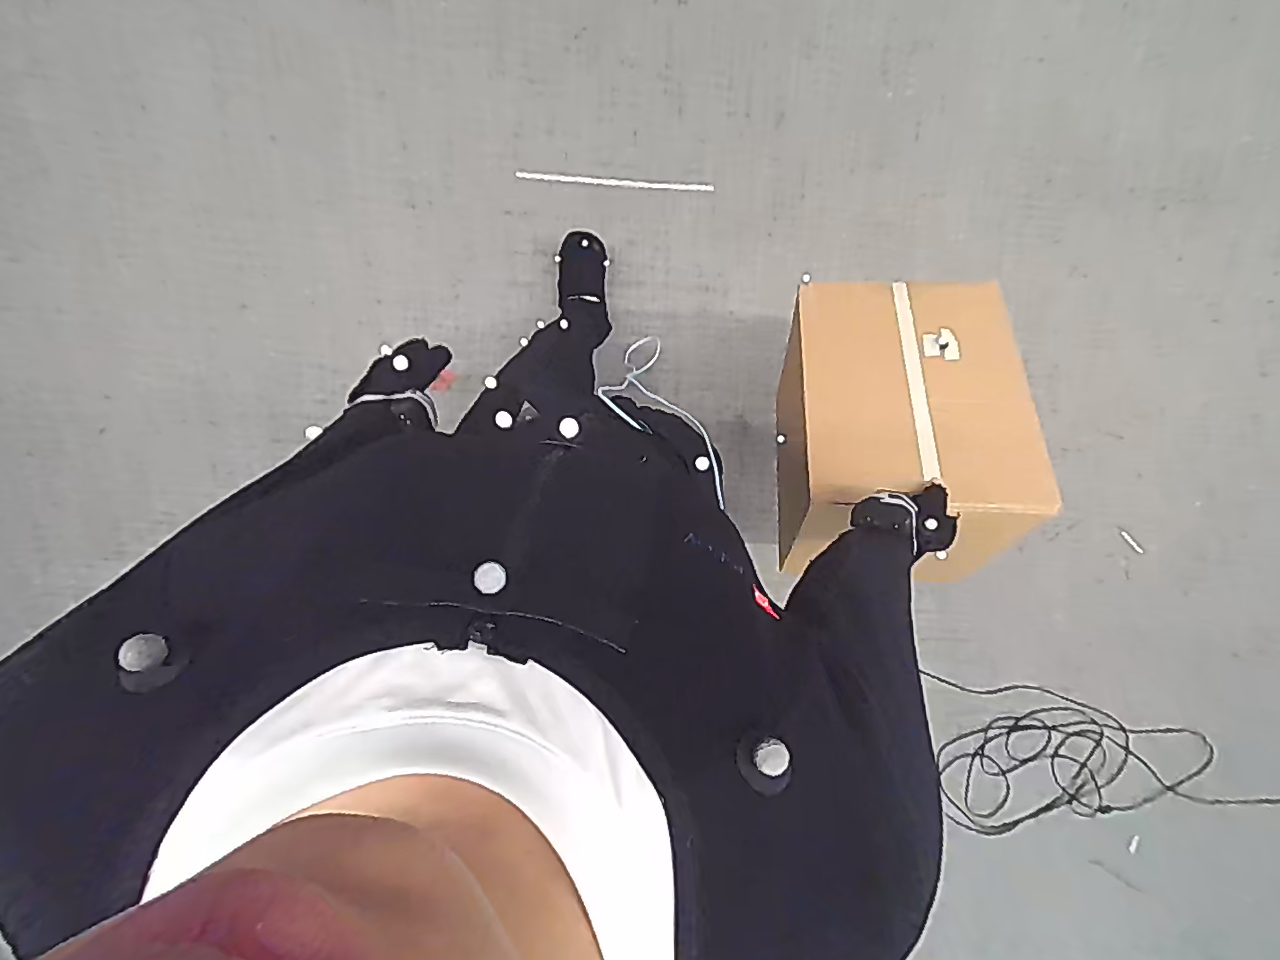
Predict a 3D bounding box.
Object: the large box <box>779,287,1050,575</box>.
[{"bbox_3d":[0.419,-0.072,0.944,0.320,0.320,0.408,2,63,7],"label":"large box"}]
